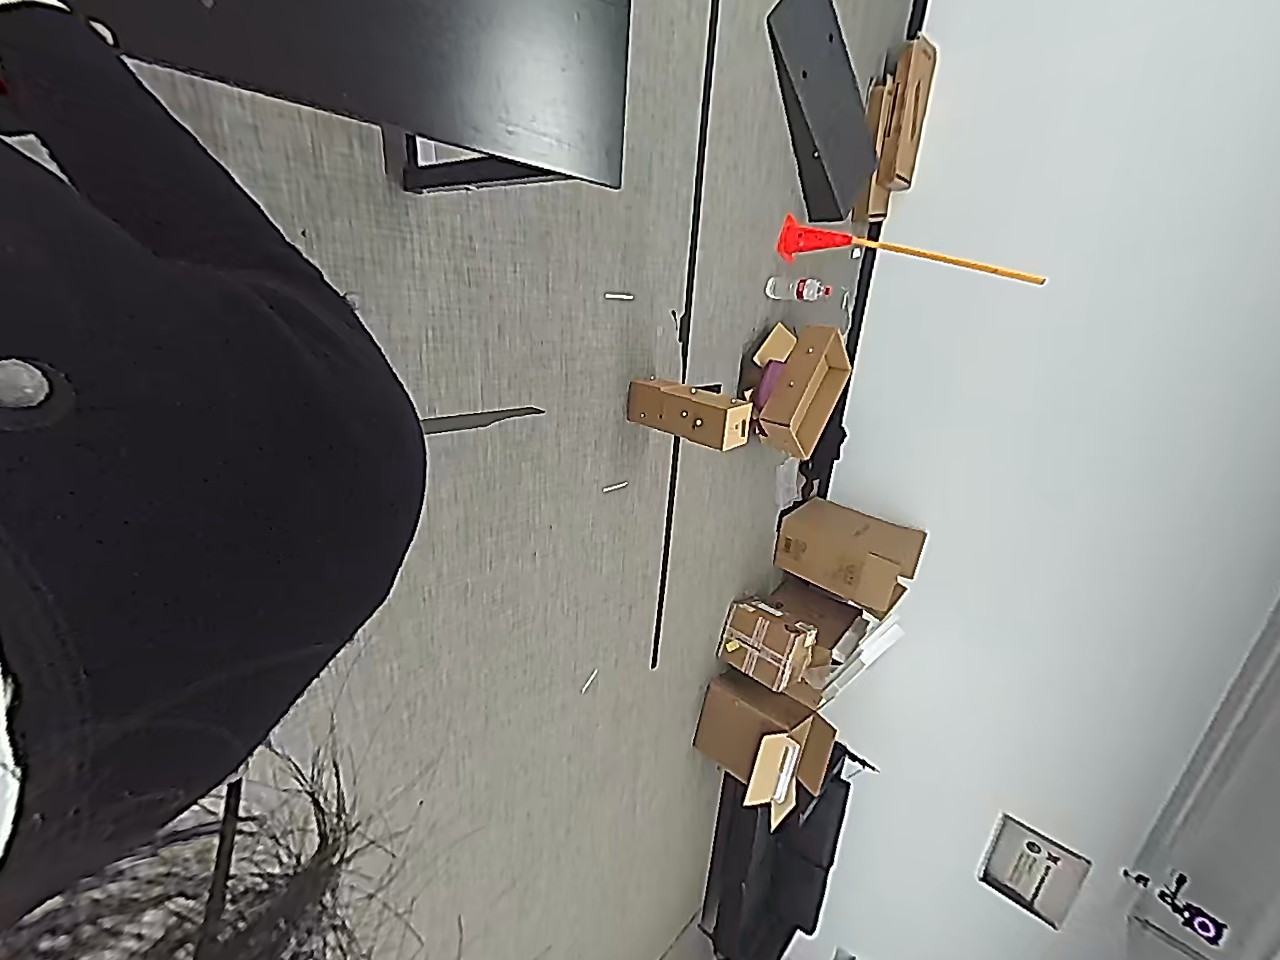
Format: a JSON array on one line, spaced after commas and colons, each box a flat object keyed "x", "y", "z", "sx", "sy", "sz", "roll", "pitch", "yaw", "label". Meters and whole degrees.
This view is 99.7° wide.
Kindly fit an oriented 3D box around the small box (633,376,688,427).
[{"x": 0.084, "y": -0.334, "z": 2.288, "sx": 0.168, "sy": 0.176, "sz": 0.179, "roll": -18, "pitch": 119, "yaw": -46, "label": "small box"}]

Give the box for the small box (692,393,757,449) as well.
[{"x": 0.326, "y": -0.234, "z": 2.088, "sx": 0.179, "sy": 0.176, "sz": 0.168, "roll": -19, "pitch": 121, "yaw": -44, "label": "small box"}]

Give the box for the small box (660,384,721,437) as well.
[{"x": 0.204, "y": -0.286, "z": 2.187, "sx": 0.179, "sy": 0.176, "sz": 0.168, "roll": -21, "pitch": 122, "yaw": -45, "label": "small box"}]
